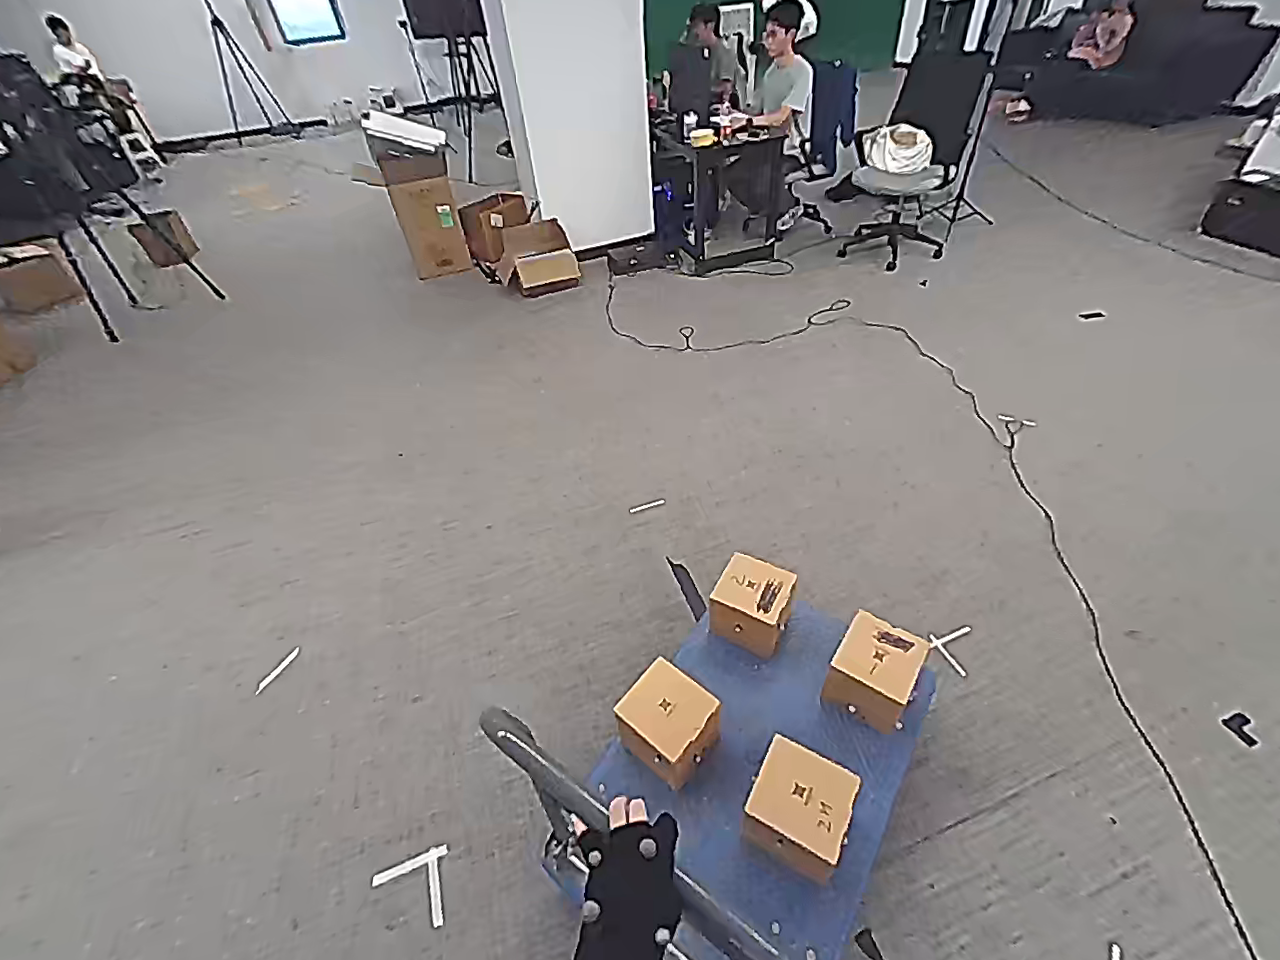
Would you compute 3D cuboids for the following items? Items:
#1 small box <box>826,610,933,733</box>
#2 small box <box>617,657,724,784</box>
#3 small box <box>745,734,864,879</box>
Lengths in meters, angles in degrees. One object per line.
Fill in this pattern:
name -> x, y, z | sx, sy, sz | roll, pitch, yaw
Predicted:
small box -> 0.552, 0.447, 1.263 | 0.168, 0.176, 0.179 | 25, 53, 29
small box -> 0.069, 0.545, 1.221 | 0.179, 0.176, 0.168 | 29, 54, 30
small box -> 0.320, 0.652, 1.077 | 0.179, 0.176, 0.168 | 20, 50, 26
